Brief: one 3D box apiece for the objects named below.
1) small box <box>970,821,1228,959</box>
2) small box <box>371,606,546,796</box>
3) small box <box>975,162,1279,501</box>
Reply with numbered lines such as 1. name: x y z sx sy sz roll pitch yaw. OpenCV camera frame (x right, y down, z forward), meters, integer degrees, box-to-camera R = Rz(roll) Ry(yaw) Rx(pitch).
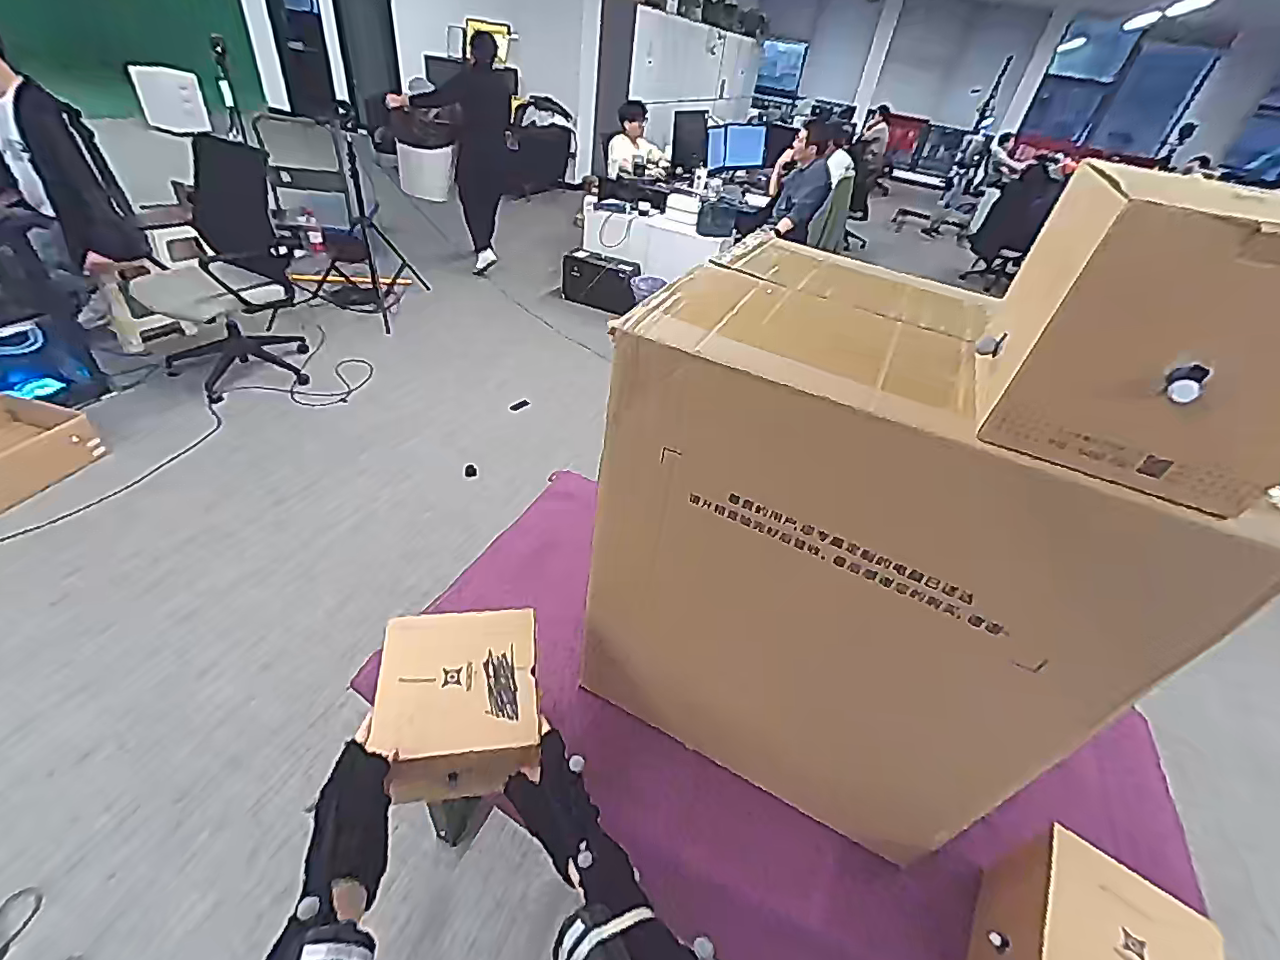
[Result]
1. small box: 0.500 0.544 0.604 0.168 0.176 0.179 30 41 23
2. small box: -0.212 0.273 0.671 0.179 0.176 0.168 -1 47 -13
3. small box: 0.370 -0.113 0.393 0.168 0.176 0.179 21 42 16
